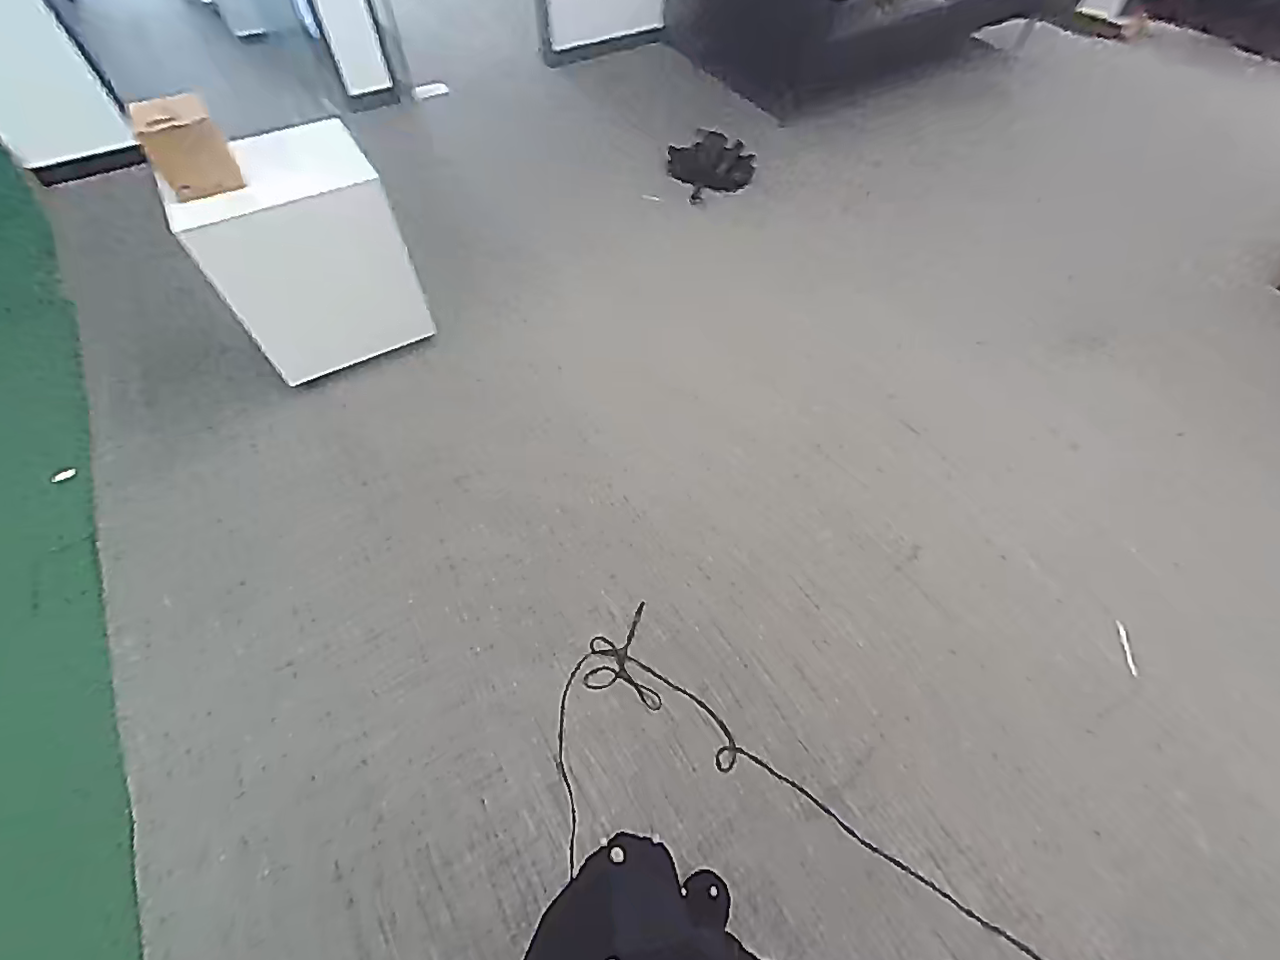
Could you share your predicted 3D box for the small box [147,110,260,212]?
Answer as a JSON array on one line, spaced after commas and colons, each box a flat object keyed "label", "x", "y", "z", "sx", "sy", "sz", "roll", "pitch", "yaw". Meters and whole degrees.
[{"label": "small box", "x": -1.138, "y": -0.830, "z": 1.421, "sx": 0.168, "sy": 0.176, "sz": 0.179, "roll": -26, "pitch": 60, "yaw": -18}]
